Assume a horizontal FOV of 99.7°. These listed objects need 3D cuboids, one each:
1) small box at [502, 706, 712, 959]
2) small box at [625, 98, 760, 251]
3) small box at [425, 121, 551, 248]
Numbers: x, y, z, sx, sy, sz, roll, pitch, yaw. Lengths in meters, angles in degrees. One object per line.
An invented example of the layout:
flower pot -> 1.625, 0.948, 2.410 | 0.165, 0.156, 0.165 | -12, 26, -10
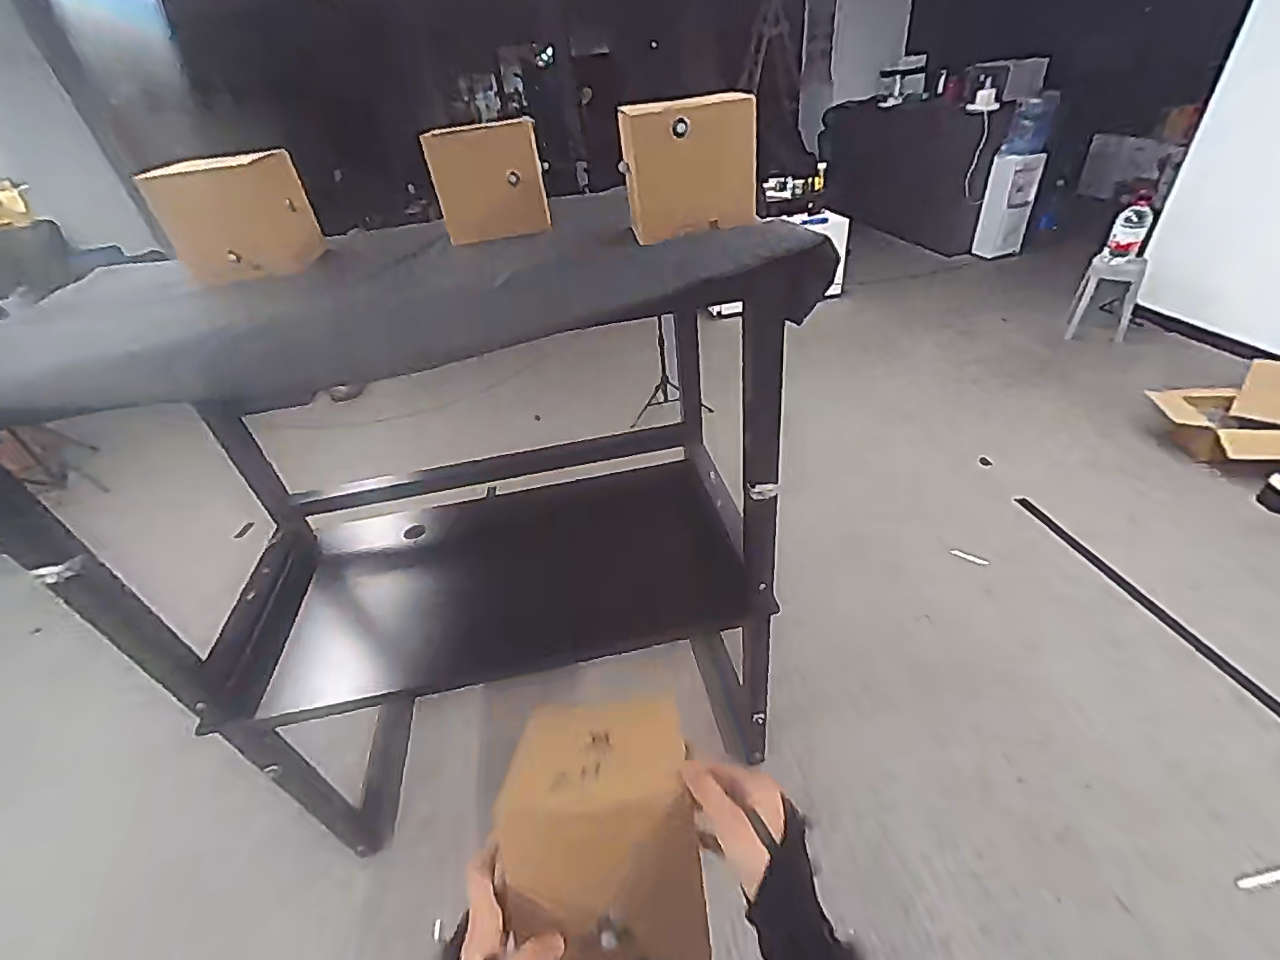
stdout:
small box -> -0.026, 0.352, 0.534 | 0.168, 0.176, 0.179 | -7, 5, 0
small box -> 0.072, -0.448, 0.795 | 0.168, 0.176, 0.179 | -9, 36, -1
small box -> -0.257, -0.529, 0.966 | 0.179, 0.176, 0.168 | -9, 36, -3
